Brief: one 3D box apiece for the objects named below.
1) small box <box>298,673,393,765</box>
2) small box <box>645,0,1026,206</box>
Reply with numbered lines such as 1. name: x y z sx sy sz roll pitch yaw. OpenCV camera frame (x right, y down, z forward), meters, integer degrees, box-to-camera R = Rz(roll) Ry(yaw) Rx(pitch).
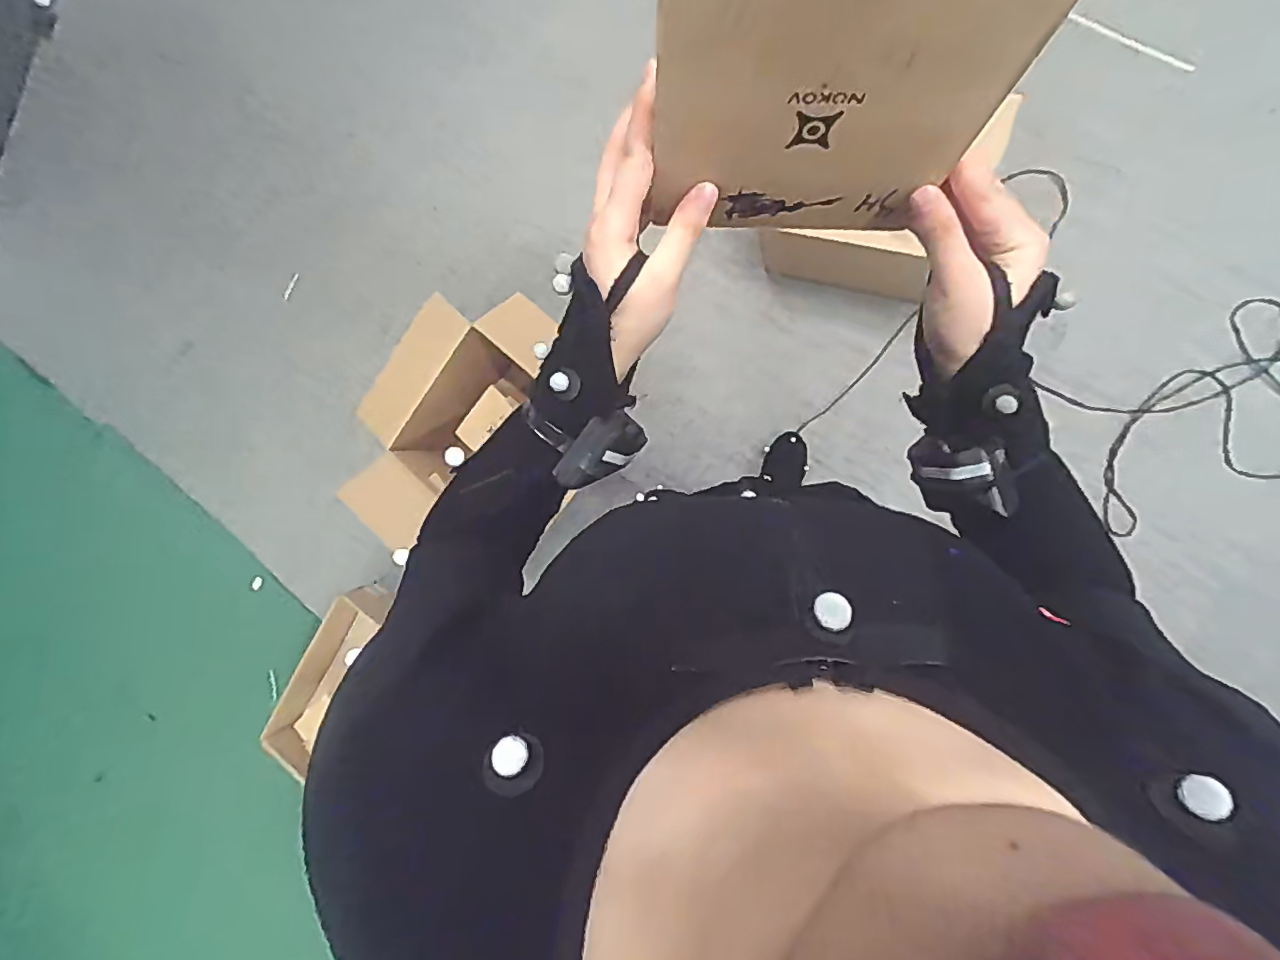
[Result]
1. small box: -0.918 0.744 1.706 0.179 0.176 0.168 -44 81 13
2. small box: 0.086 -0.280 0.292 0.168 0.179 0.176 1 79 1
